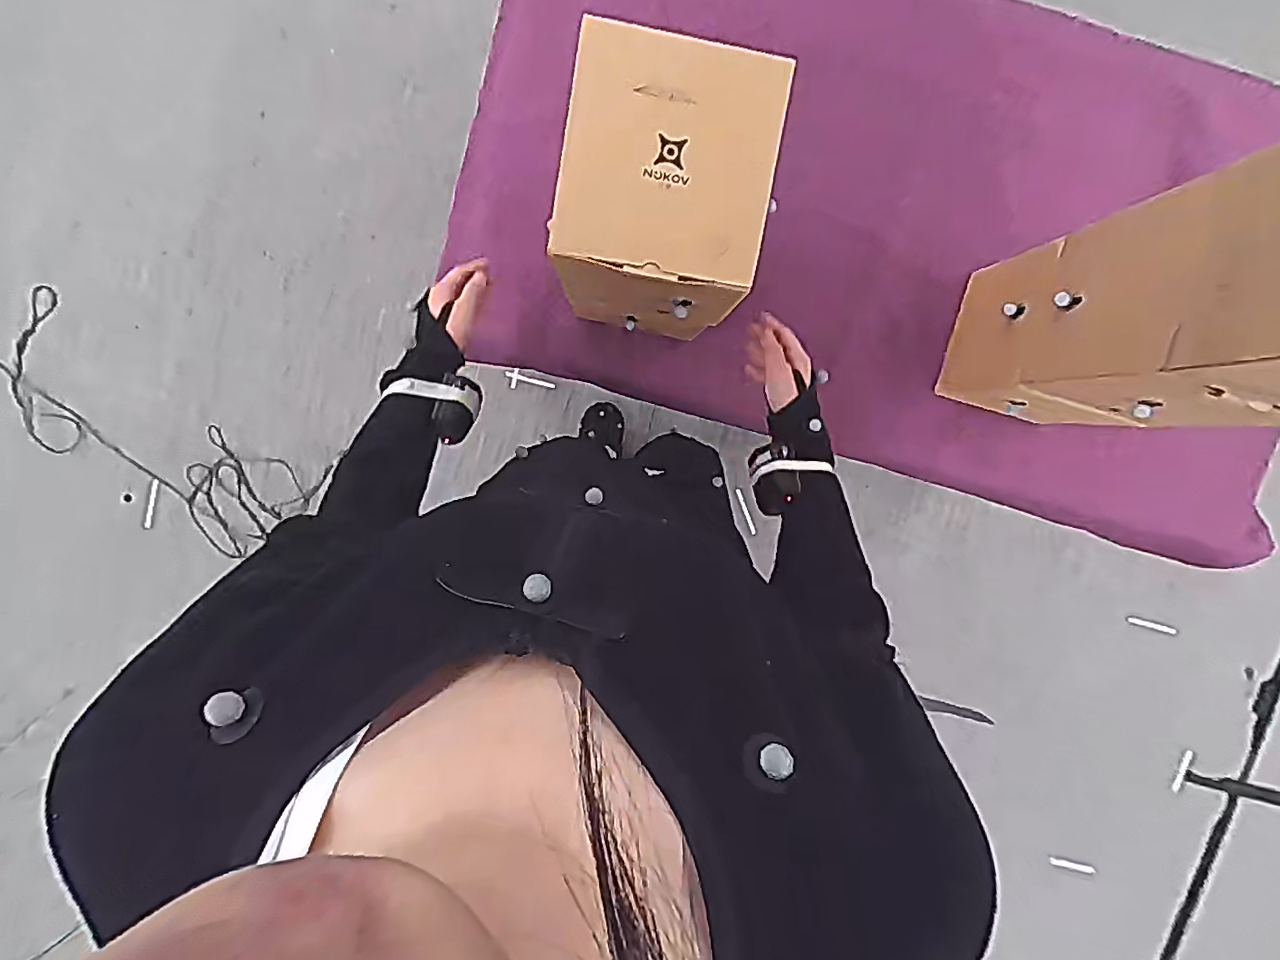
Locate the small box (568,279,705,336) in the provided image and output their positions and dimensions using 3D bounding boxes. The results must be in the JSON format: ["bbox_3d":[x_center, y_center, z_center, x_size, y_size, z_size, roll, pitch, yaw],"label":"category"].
[{"bbox_3d":[0.016,-0.283,0.654,0.168,0.176,0.179,11,95,-4],"label":"small box"}]

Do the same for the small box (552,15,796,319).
[{"bbox_3d":[0.022,-0.257,0.494,0.168,0.176,0.179,9,95,-4],"label":"small box"}]

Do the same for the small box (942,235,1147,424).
[{"bbox_3d":[0.522,-0.176,0.688,0.168,0.176,0.179,15,95,-3],"label":"small box"}]

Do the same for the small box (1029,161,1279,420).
[{"bbox_3d":[0.529,-0.161,0.525,0.168,0.176,0.179,16,96,-3],"label":"small box"}]
